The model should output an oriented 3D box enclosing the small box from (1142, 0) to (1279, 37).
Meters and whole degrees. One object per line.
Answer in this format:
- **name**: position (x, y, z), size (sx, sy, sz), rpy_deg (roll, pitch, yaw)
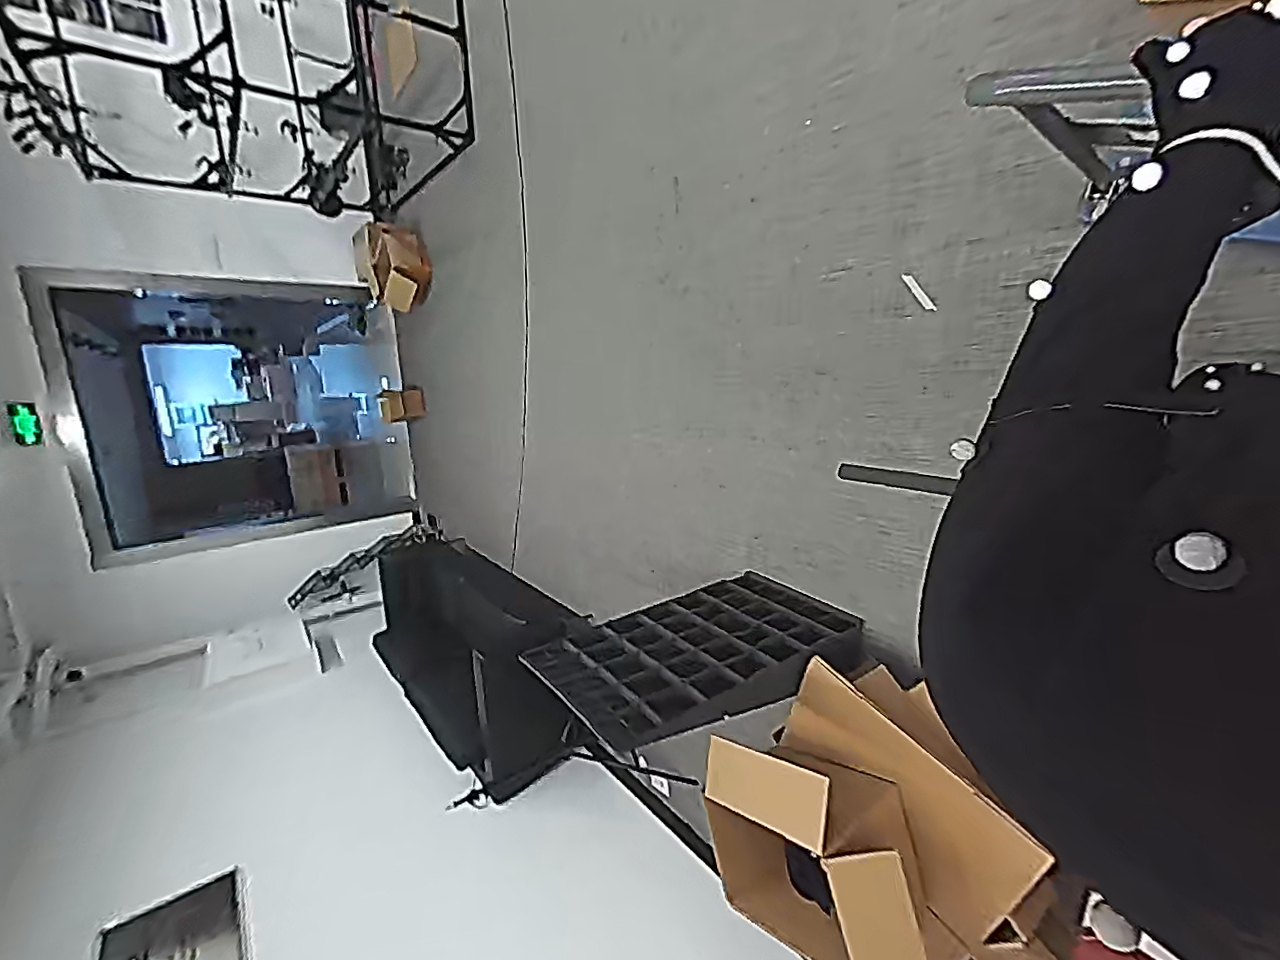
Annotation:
- **small box**: position (0.875, -0.762, 0.771), size (0.179, 0.176, 0.168), rpy_deg (37, 127, 40)
